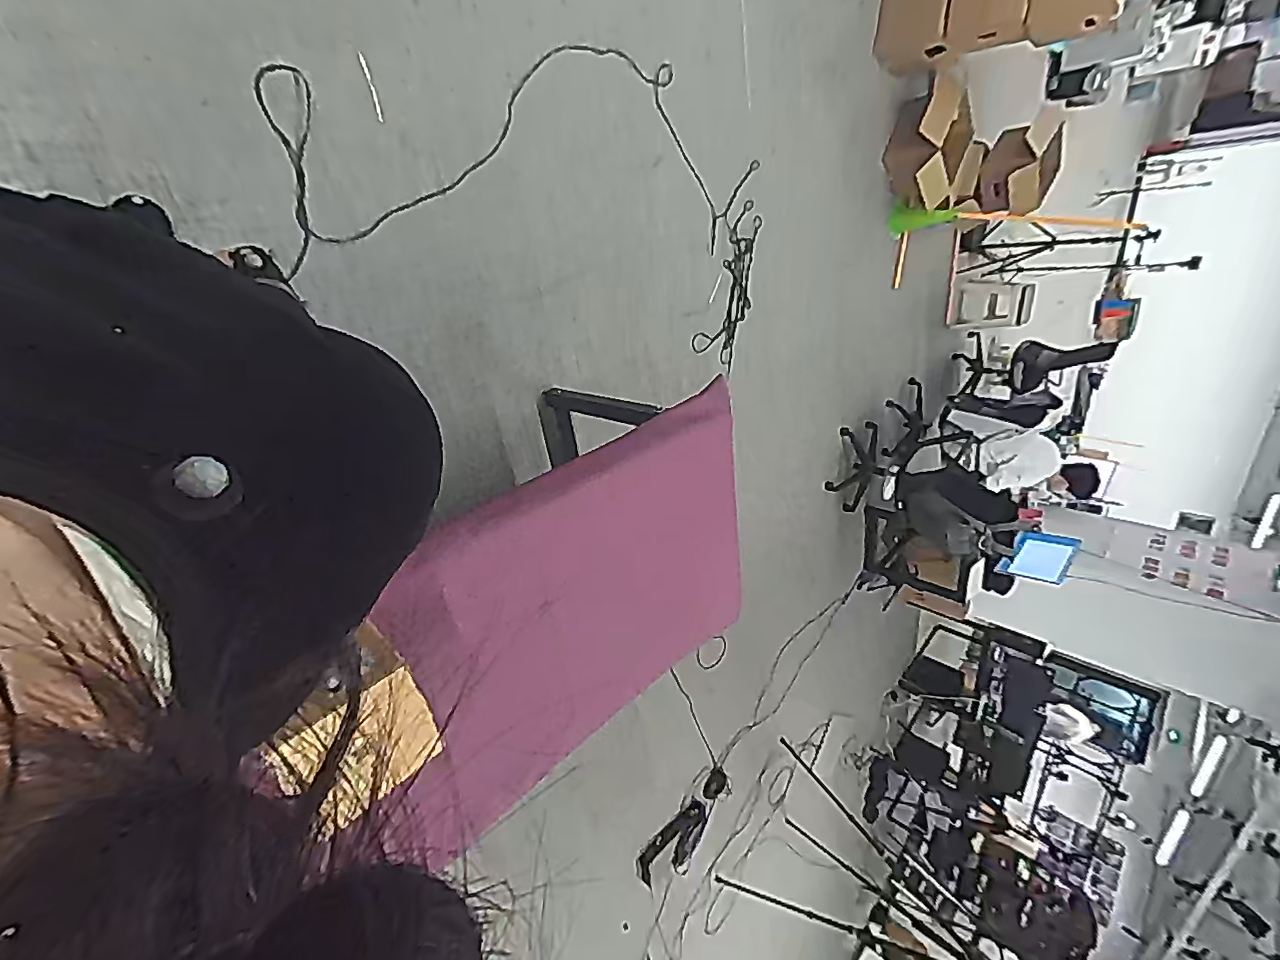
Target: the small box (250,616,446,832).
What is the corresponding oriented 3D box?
[{"bbox_3d":[-0.409,0.325,0.753,0.179,0.176,0.168,-32,123,-35],"label":"small box"}]
